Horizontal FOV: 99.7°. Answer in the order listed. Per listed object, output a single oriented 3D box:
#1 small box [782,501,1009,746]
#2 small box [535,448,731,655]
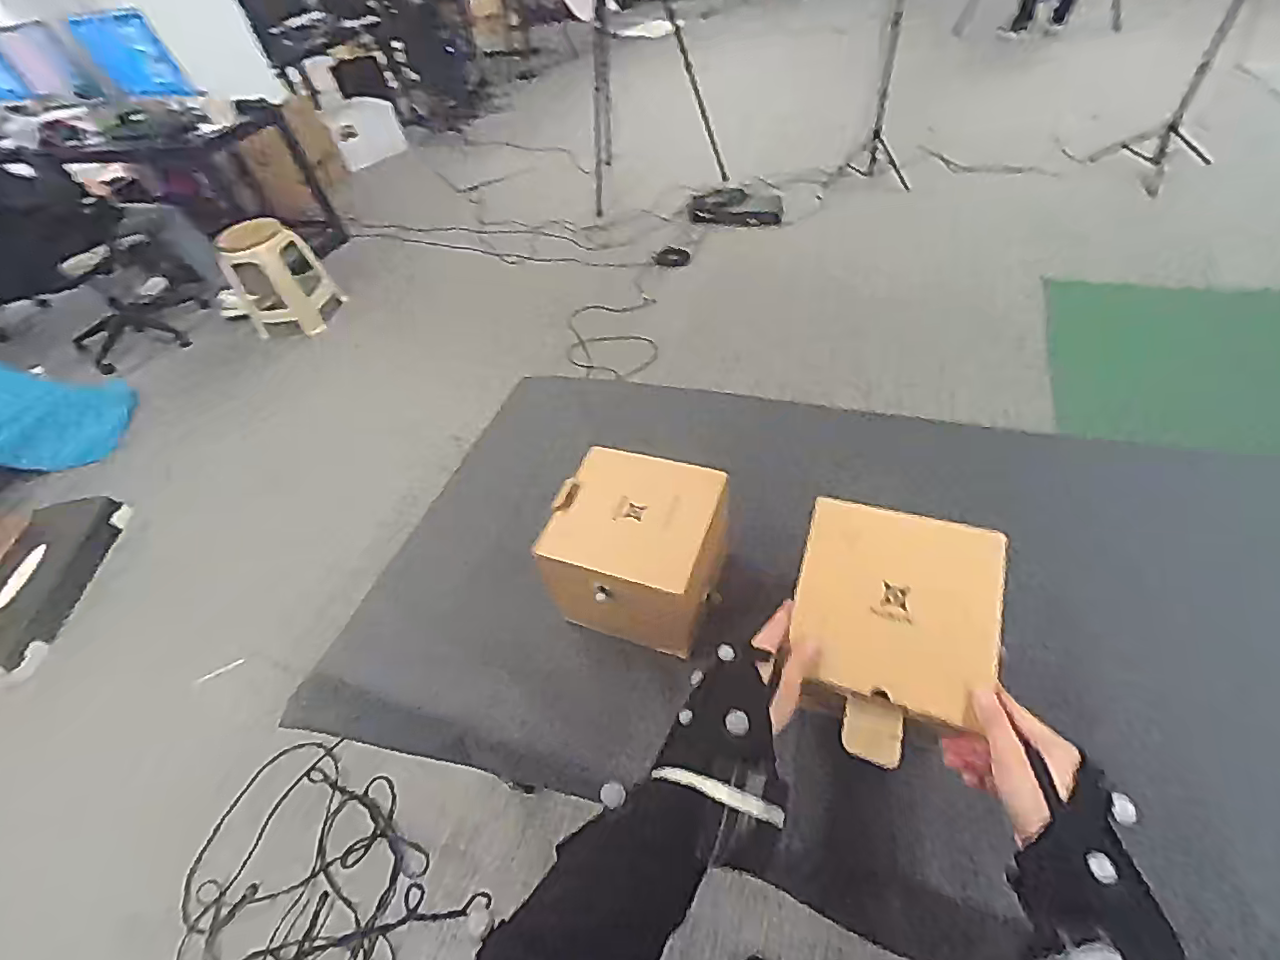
[{"bbox_3d":[0.242,0.147,0.542,0.168,0.176,0.179,12,66,19],"label":"small box"},{"bbox_3d":[0.004,0.089,0.659,0.179,0.176,0.168,13,53,19],"label":"small box"}]
